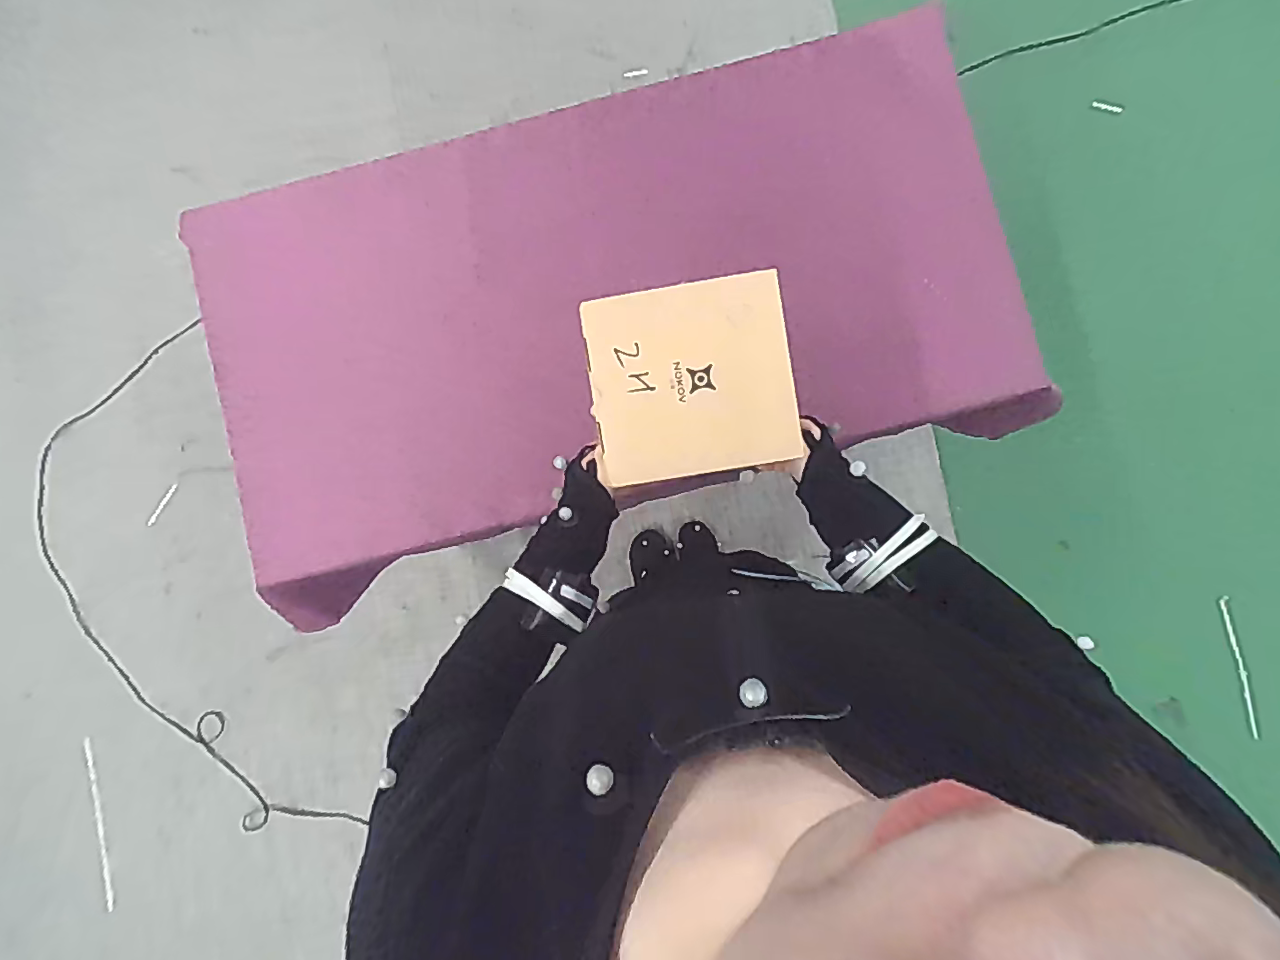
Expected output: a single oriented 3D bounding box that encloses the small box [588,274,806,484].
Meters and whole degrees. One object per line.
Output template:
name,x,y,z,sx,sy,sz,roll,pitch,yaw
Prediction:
small box,0.053,-0.091,0.555,0.179,0.176,0.168,-9,91,4
